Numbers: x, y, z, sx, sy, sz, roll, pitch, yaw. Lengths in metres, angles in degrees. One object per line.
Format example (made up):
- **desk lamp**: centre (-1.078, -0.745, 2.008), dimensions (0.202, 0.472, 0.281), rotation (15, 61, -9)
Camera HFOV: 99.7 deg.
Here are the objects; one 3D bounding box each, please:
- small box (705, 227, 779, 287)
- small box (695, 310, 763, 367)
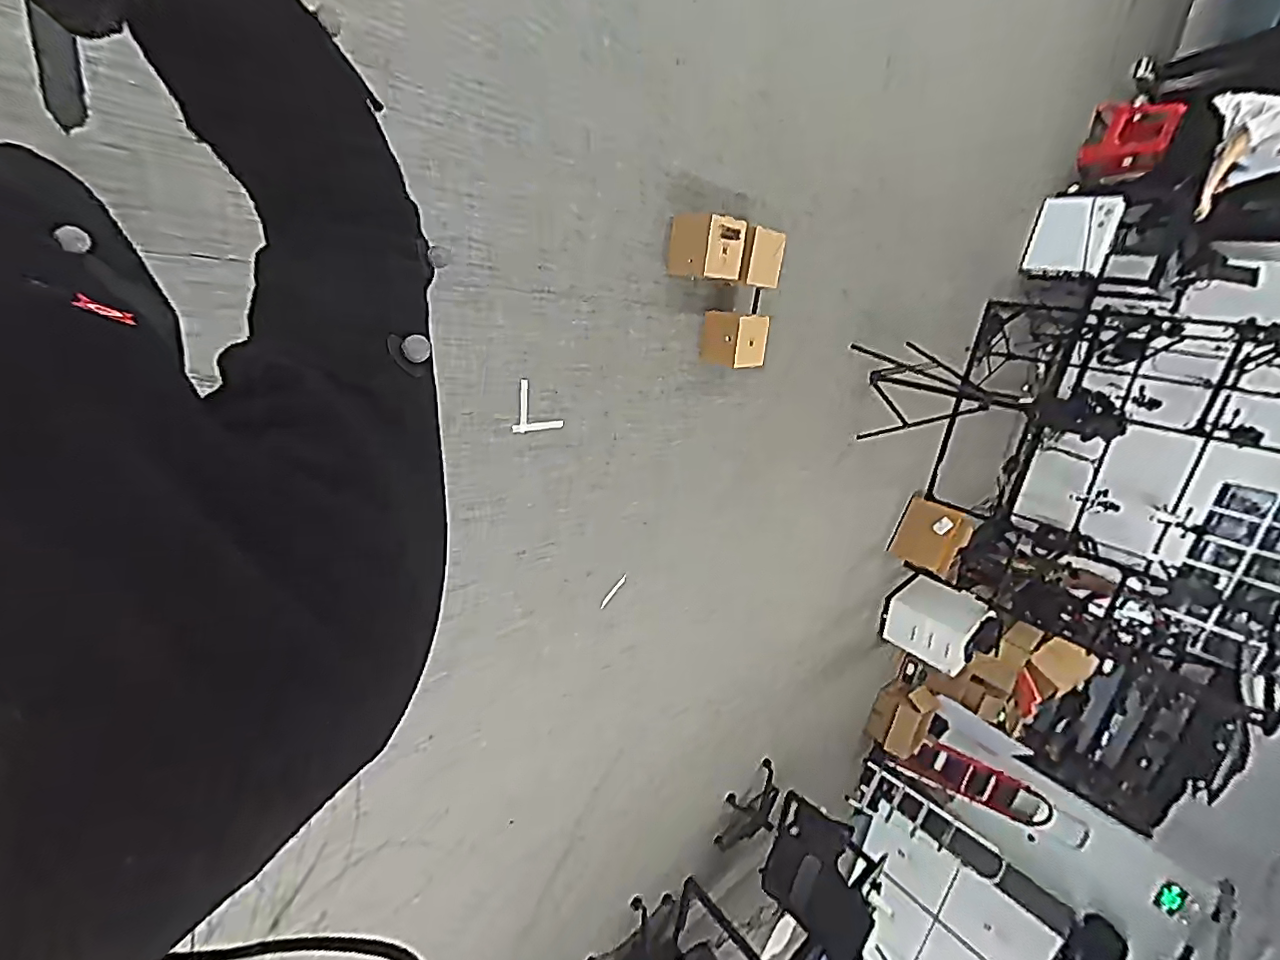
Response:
- **small box**: centre (0.353, -0.768, 1.866), dimensions (0.168, 0.176, 0.179), rotation (-9, 115, -41)
- **small box**: centre (0.319, -0.517, 1.961), dimensions (0.168, 0.176, 0.179), rotation (-14, 118, -39)
